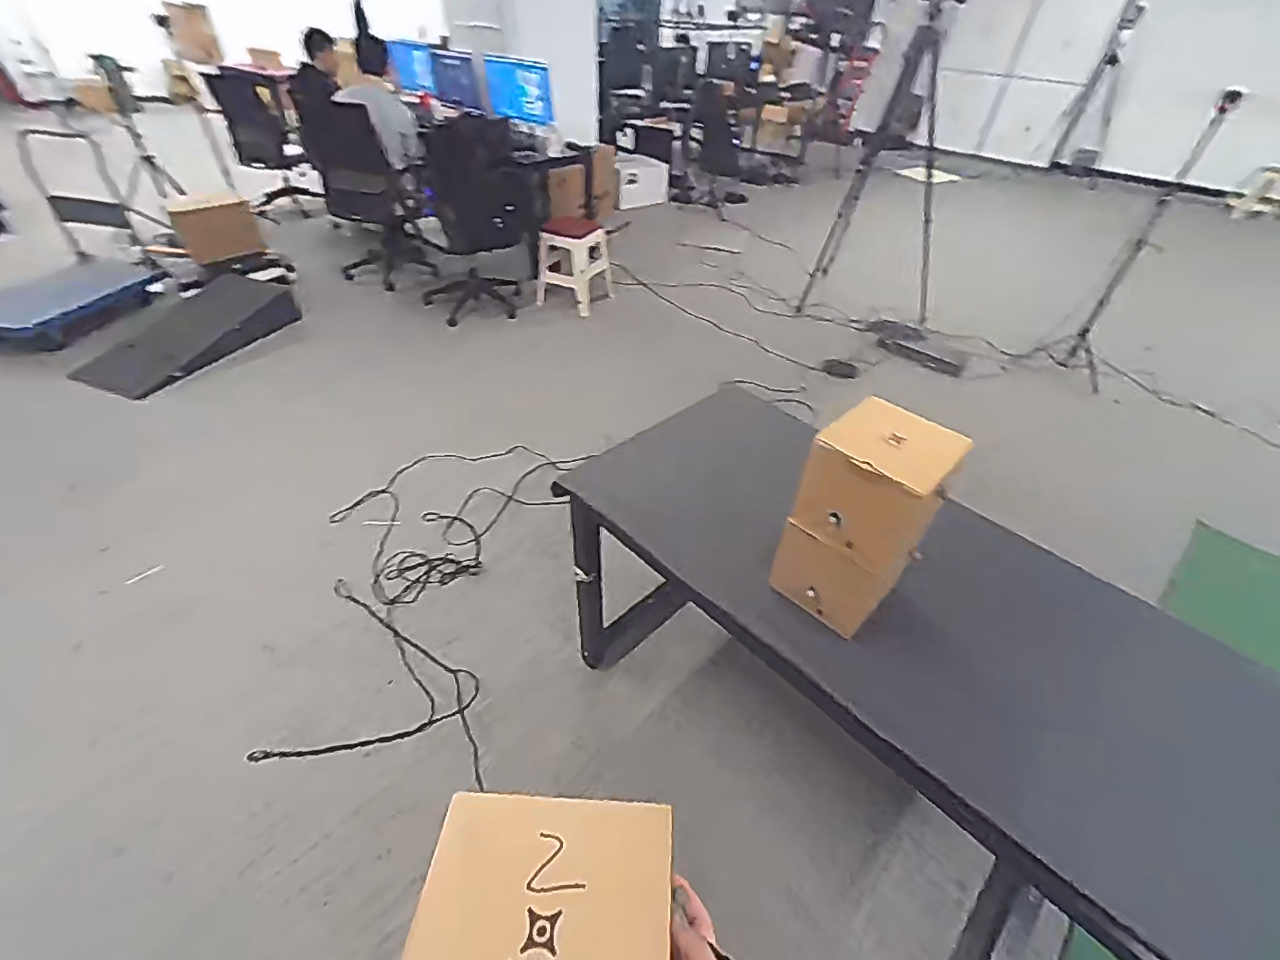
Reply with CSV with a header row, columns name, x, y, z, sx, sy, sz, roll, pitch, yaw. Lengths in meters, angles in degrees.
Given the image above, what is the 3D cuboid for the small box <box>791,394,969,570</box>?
name,x,y,z,sx,sy,sz,roll,pitch,yaw
small box,0.355,0.001,0.825,0.168,0.176,0.179,34,50,31

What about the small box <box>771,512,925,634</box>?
name,x,y,z,sx,sy,sz,roll,pitch,yaw
small box,0.348,0.124,0.931,0.168,0.176,0.179,34,49,31
